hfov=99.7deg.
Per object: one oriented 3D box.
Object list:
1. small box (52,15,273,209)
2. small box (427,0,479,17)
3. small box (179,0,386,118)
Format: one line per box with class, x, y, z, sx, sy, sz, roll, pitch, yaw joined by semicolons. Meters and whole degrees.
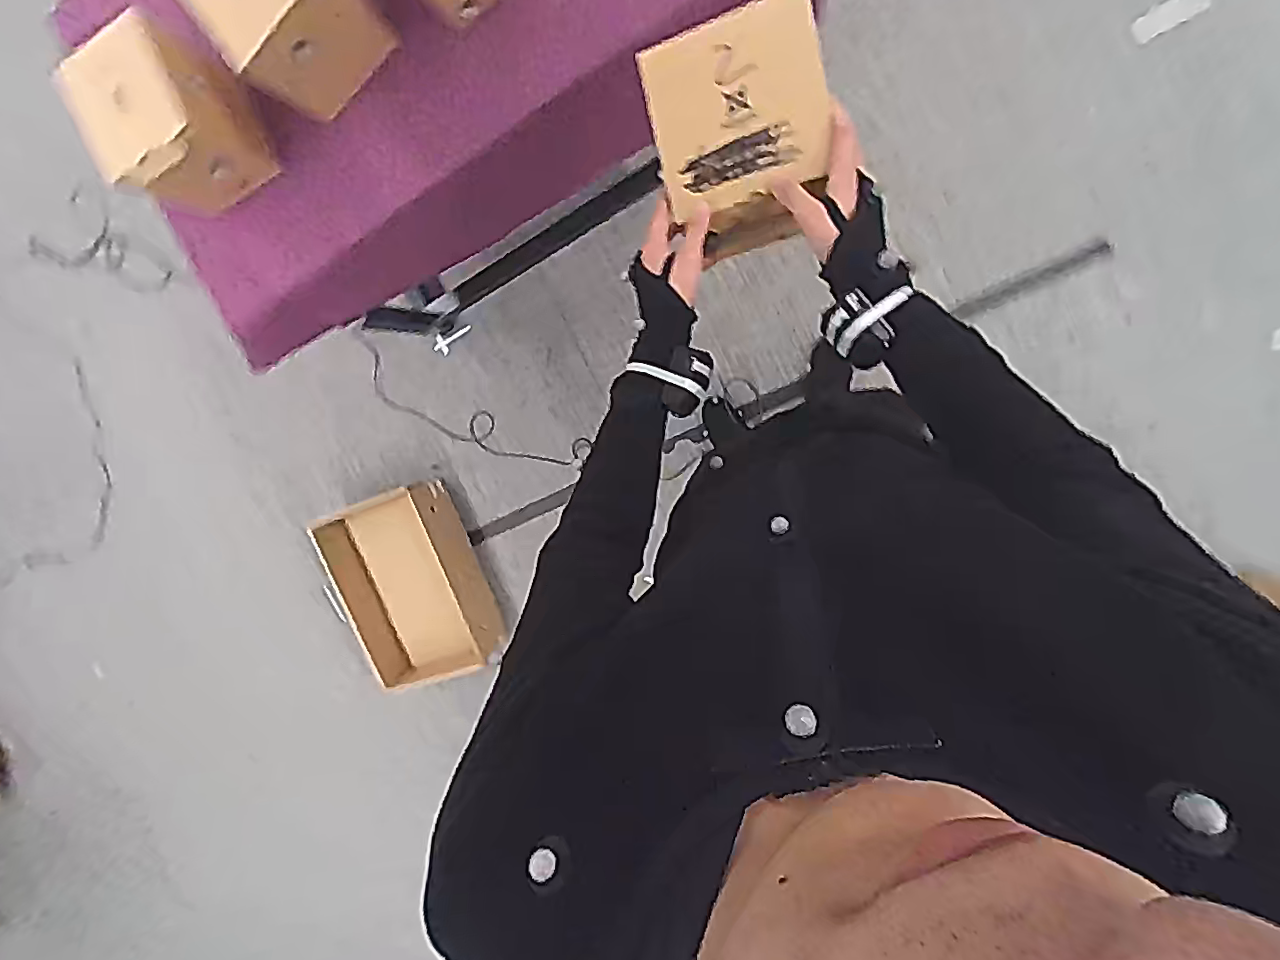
small box;-0.735;-0.555;0.853;0.168;0.176;0.179;-22;97;13
small box;-0.278;-0.778;0.720;0.168;0.176;0.179;-31;94;15
small box;-0.515;-0.679;0.784;0.179;0.176;0.168;-36;94;16
